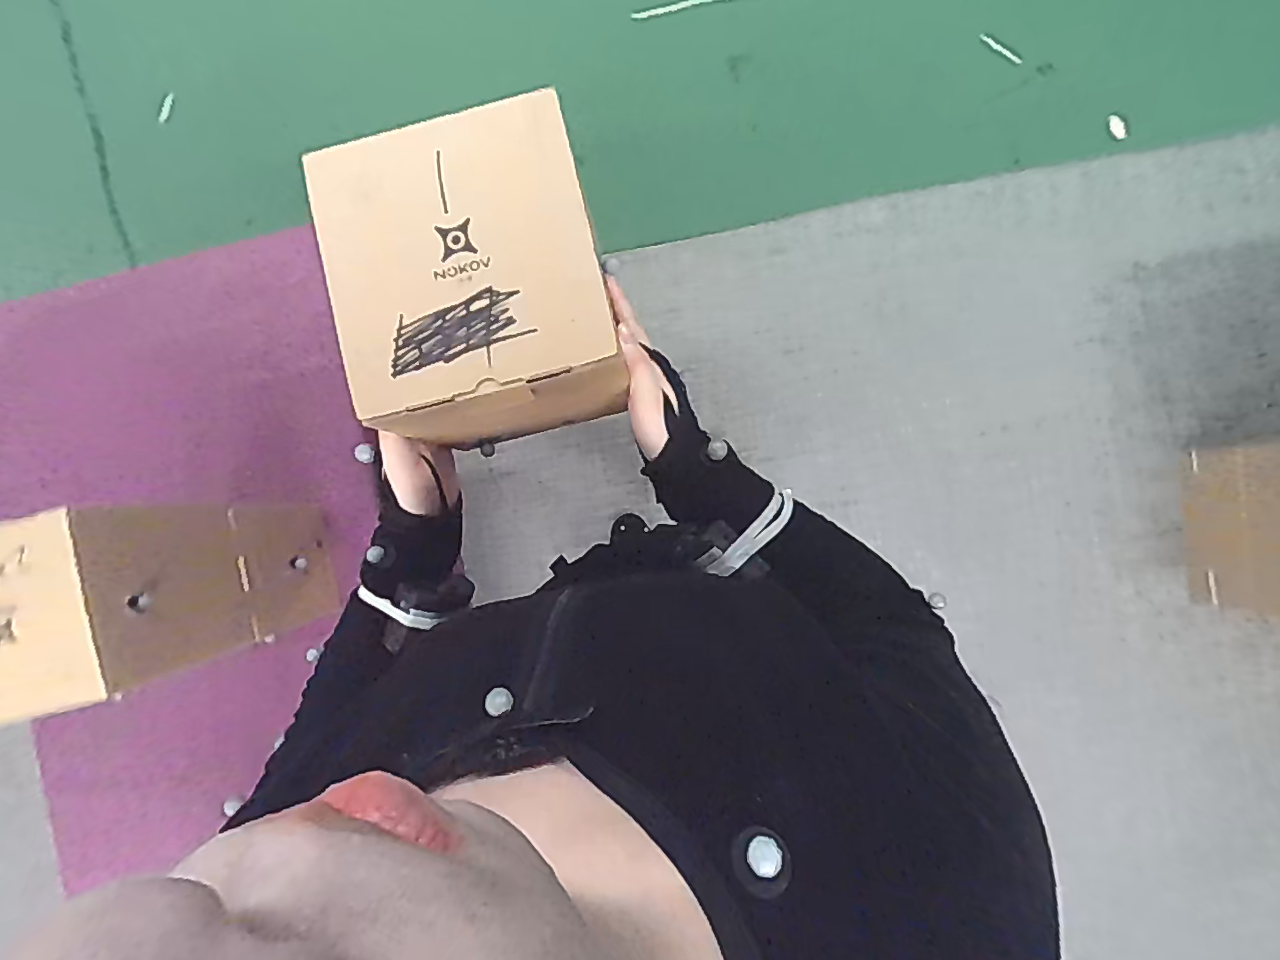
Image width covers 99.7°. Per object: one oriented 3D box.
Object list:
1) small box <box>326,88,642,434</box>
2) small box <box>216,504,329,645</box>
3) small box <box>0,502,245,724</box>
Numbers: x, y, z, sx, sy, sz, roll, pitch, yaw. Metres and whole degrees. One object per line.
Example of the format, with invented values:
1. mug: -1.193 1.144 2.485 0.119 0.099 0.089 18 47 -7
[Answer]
1. small box: -0.096 -0.137 0.410 0.168 0.176 0.179 -12 87 2
2. small box: -0.551 0.129 0.726 0.179 0.176 0.168 -13 89 2
3. small box: -0.557 0.126 0.561 0.168 0.176 0.179 -14 89 2
